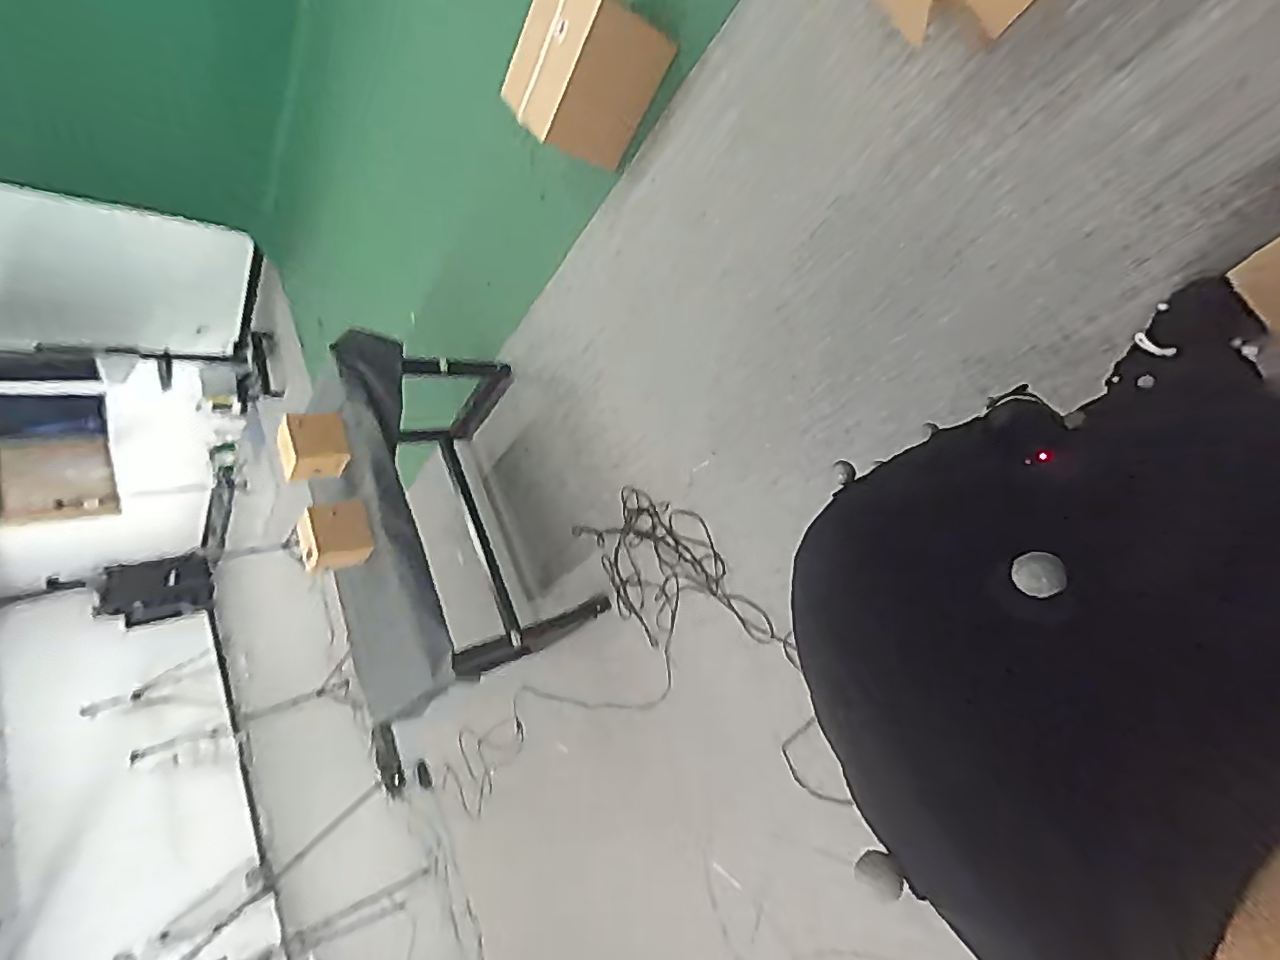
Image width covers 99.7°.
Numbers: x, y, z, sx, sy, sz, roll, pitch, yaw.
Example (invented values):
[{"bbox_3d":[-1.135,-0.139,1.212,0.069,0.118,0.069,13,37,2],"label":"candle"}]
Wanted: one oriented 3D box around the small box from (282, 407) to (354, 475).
[{"bbox_3d":[-1.099,-0.138,1.849,0.168,0.176,0.179,-36,71,42],"label":"small box"}]
